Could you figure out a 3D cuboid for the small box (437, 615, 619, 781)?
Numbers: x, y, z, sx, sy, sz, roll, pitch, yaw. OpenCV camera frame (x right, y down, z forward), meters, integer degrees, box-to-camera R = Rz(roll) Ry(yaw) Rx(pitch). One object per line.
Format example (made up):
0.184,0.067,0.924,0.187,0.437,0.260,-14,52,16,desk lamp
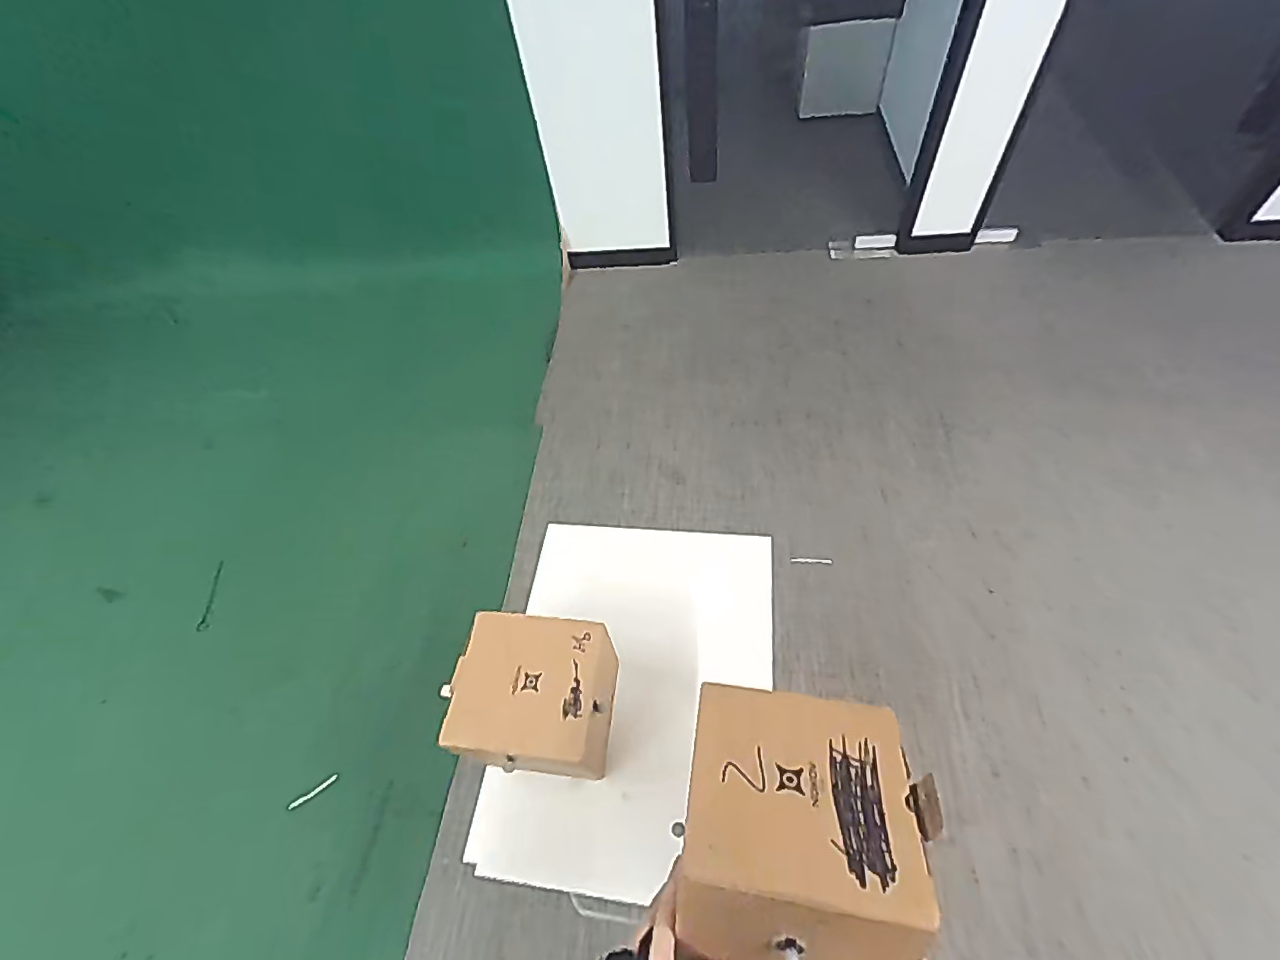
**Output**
-0.134,0.296,0.725,0.179,0.176,0.168,3,56,8,small box
